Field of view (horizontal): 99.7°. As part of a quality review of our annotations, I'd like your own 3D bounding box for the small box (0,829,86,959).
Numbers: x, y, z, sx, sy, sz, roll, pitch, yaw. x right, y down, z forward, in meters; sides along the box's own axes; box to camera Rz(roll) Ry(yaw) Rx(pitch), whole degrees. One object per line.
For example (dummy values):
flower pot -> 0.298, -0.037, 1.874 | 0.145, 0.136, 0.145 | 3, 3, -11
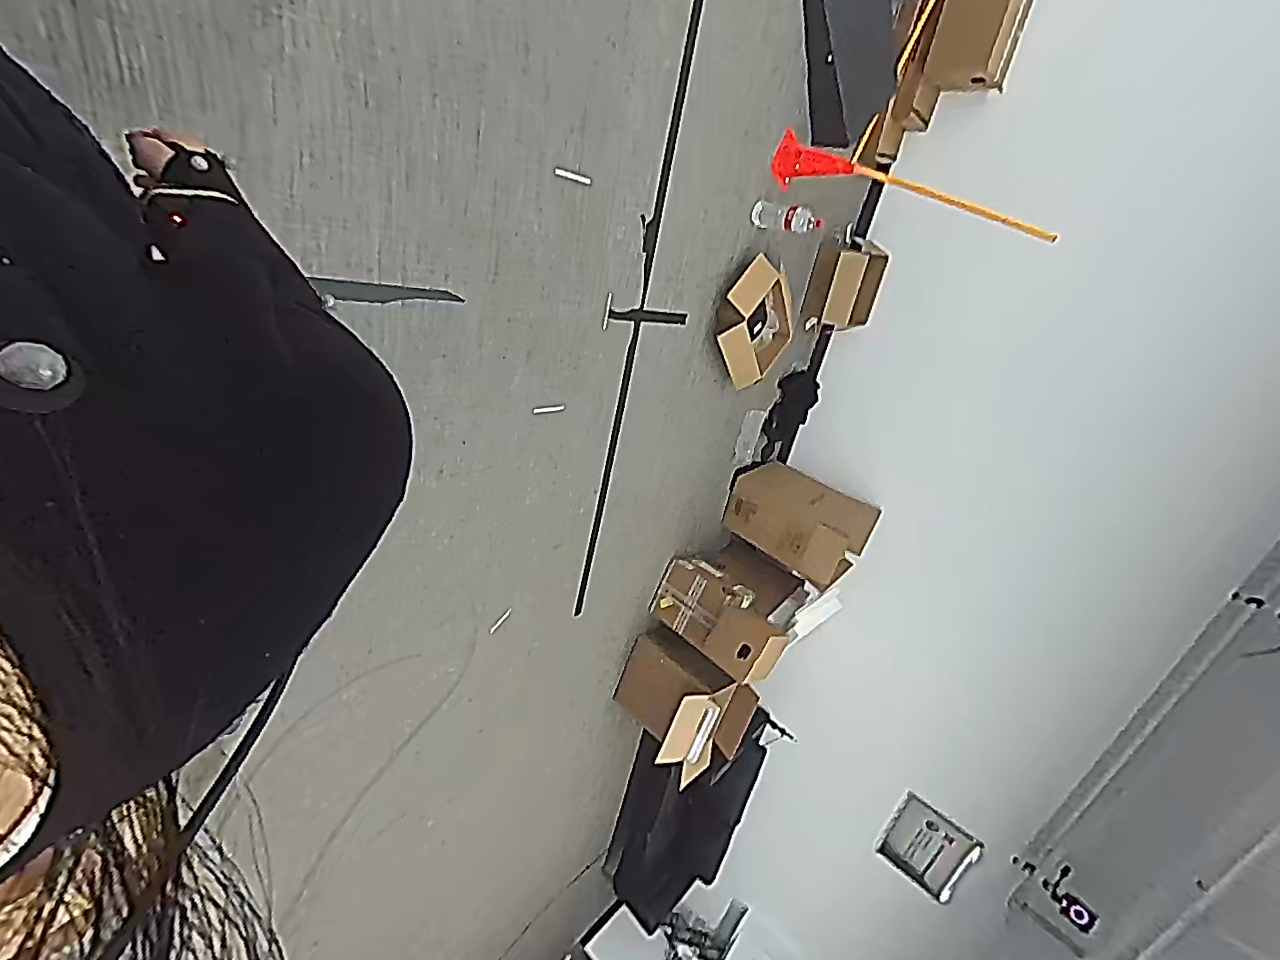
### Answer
small box -> -1.497, 0.998, 1.306 | 0.168, 0.176, 0.179 | -27, 134, -43
